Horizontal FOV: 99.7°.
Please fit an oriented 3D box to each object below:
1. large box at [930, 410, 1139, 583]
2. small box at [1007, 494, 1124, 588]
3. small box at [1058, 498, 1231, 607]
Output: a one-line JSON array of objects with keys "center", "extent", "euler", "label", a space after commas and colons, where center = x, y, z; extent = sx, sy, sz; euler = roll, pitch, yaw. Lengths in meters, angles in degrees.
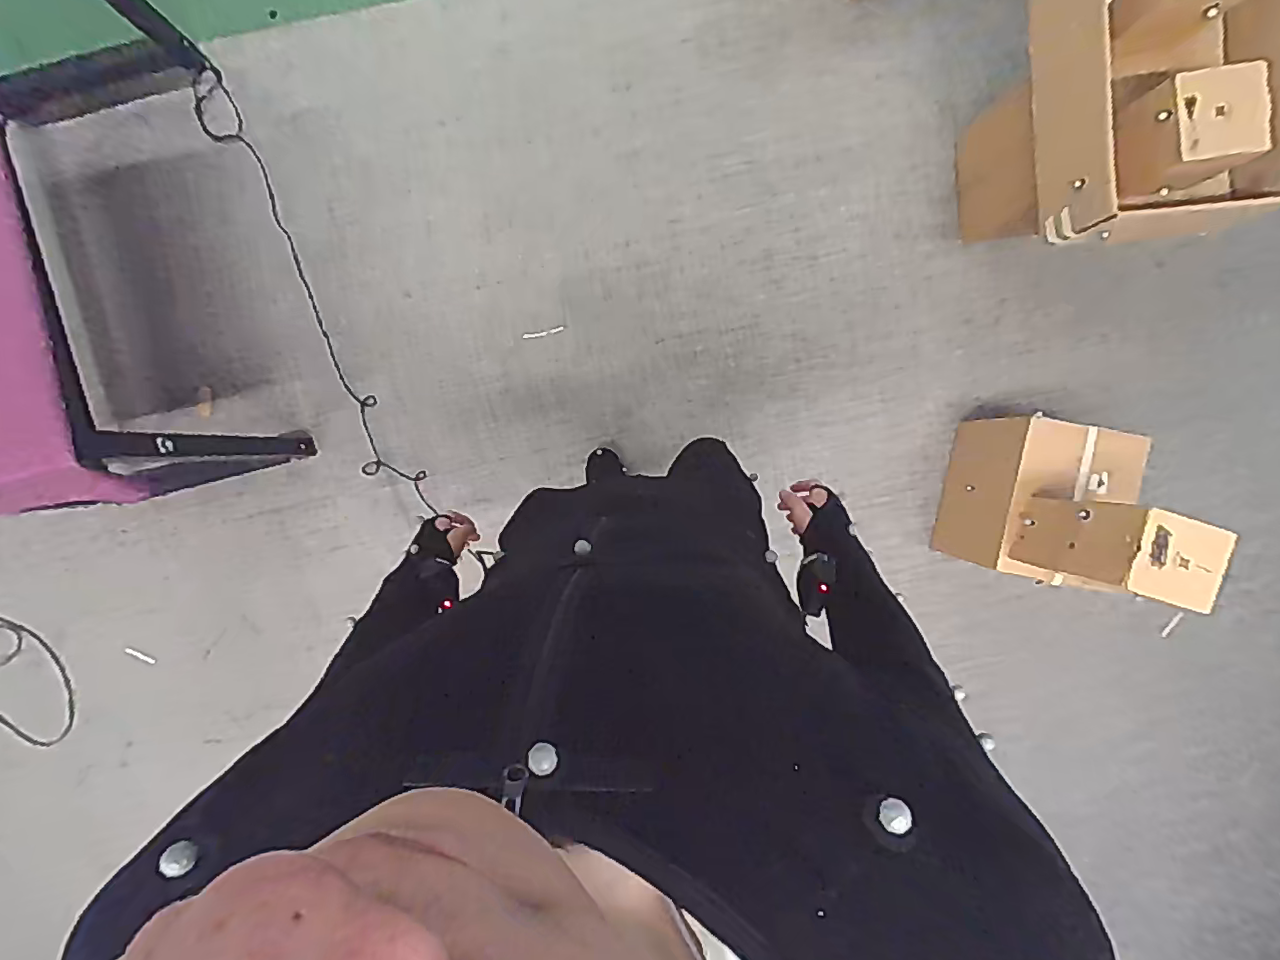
[{"center": [1.072, 0.039, 1.511], "extent": [0.320, 0.320, 0.408], "euler": [10, 93, -3], "label": "large box"}, {"center": [1.021, 0.134, 1.271], "extent": [0.179, 0.176, 0.168], "euler": [17, 93, -1], "label": "small box"}, {"center": [1.017, 0.139, 1.107], "extent": [0.179, 0.176, 0.168], "euler": [17, 93, -2], "label": "small box"}]
